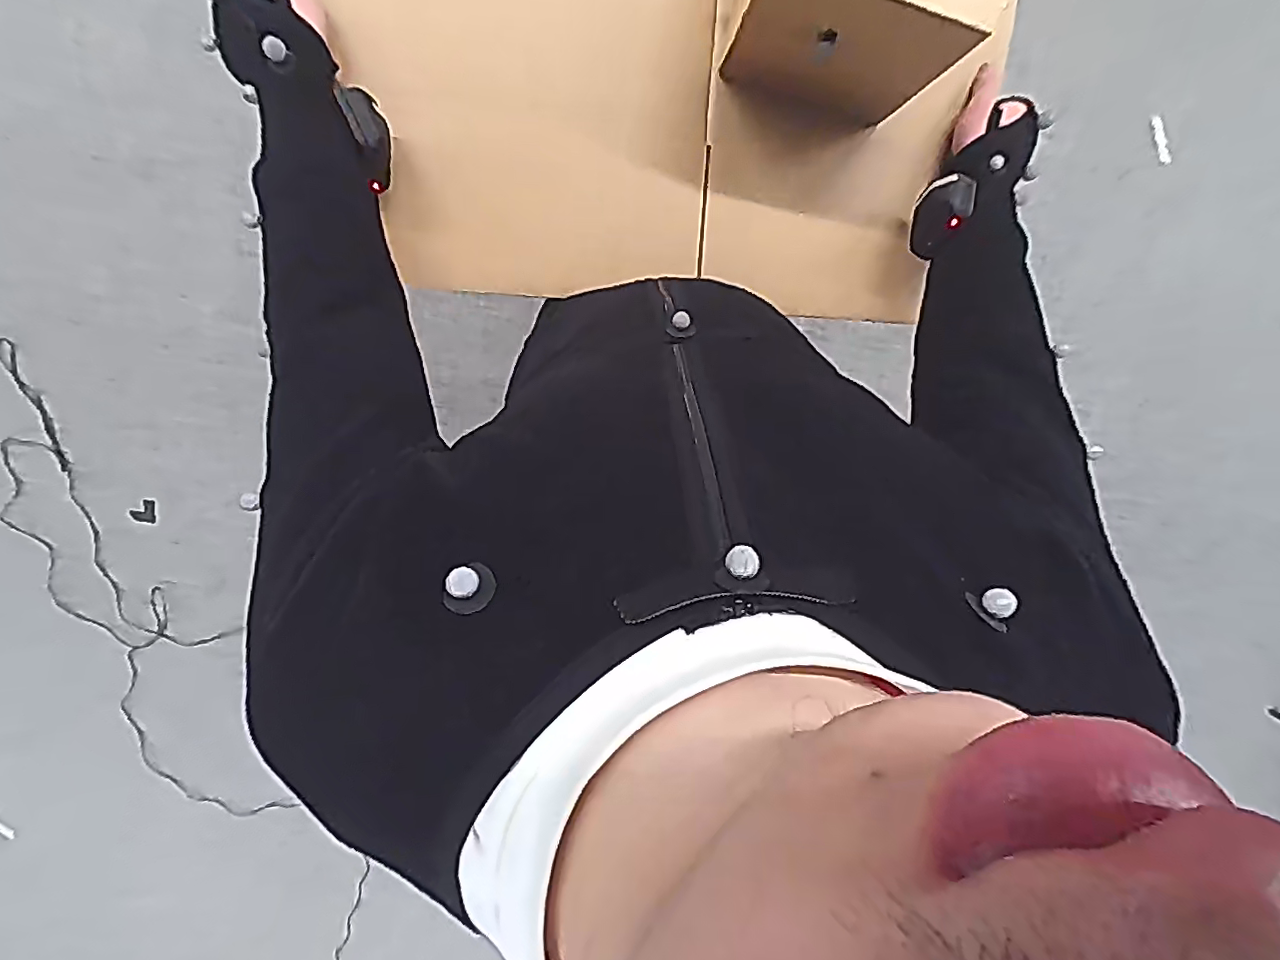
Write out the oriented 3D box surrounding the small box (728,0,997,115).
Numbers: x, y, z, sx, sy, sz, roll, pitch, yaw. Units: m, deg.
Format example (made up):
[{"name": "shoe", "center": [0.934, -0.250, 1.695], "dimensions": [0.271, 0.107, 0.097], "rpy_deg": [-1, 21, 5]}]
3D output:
[{"name": "small box", "center": [0.187, -0.443, 0.452], "dimensions": [0.179, 0.176, 0.168], "rpy_deg": [12, 103, -7]}]
